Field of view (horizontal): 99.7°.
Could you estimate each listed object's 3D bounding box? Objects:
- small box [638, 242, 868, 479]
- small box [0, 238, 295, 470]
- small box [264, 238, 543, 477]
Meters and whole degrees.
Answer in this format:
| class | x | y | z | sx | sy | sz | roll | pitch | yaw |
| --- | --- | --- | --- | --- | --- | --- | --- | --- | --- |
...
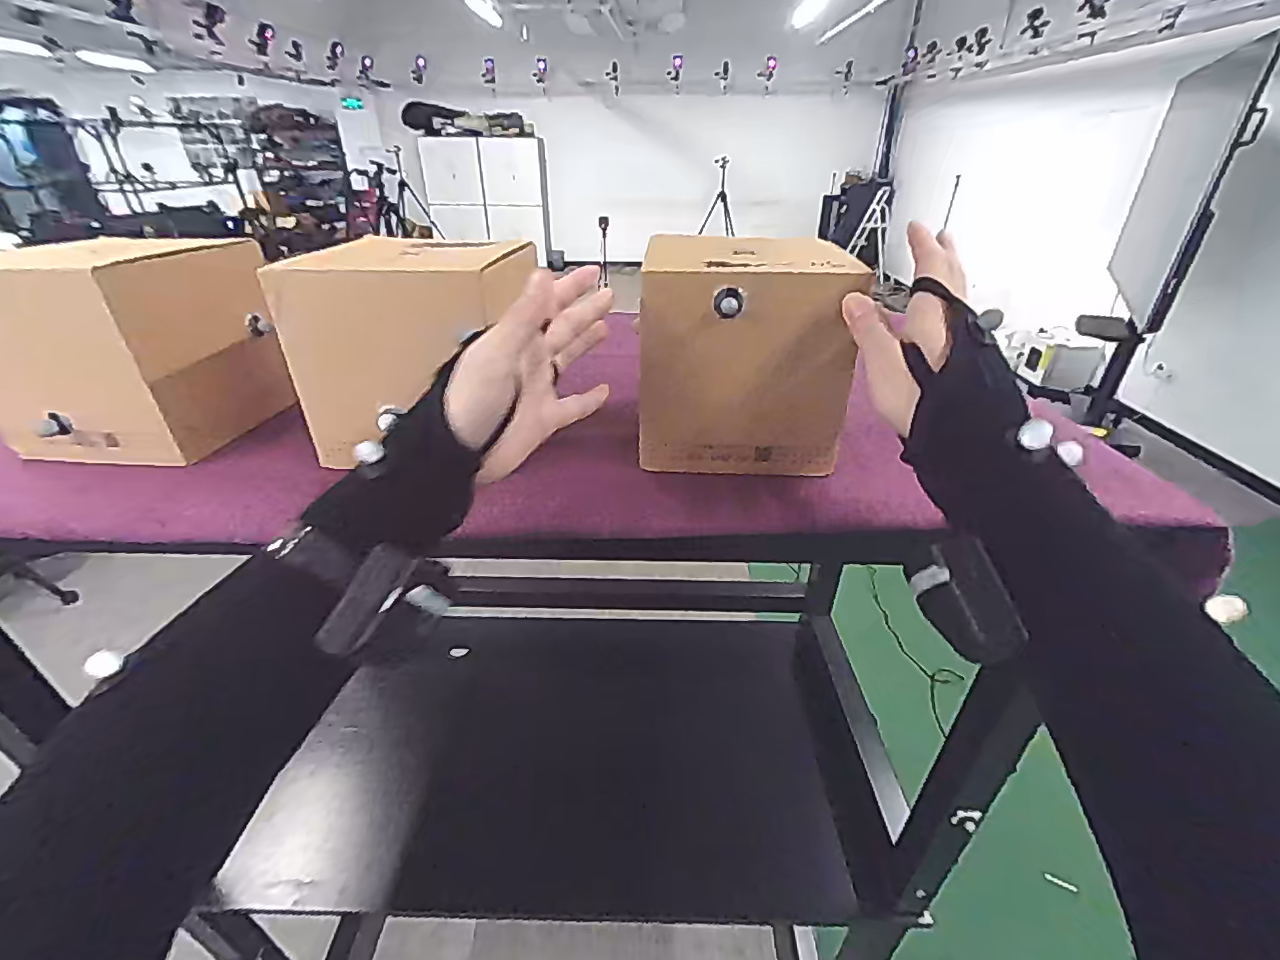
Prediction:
| class | x | y | z | sx | sy | sz | roll | pitch | yaw |
| --- | --- | --- | --- | --- | --- | --- | --- | --- | --- |
| small box | 0.085 | -0.117 | 0.495 | 0.168 | 0.176 | 0.179 | 1 | 31 | 4 |
| small box | -0.465 | -0.126 | 0.510 | 0.168 | 0.176 | 0.179 | 2 | 31 | 5 |
| small box | -0.189 | -0.120 | 0.499 | 0.168 | 0.176 | 0.179 | 2 | 31 | 3 |
